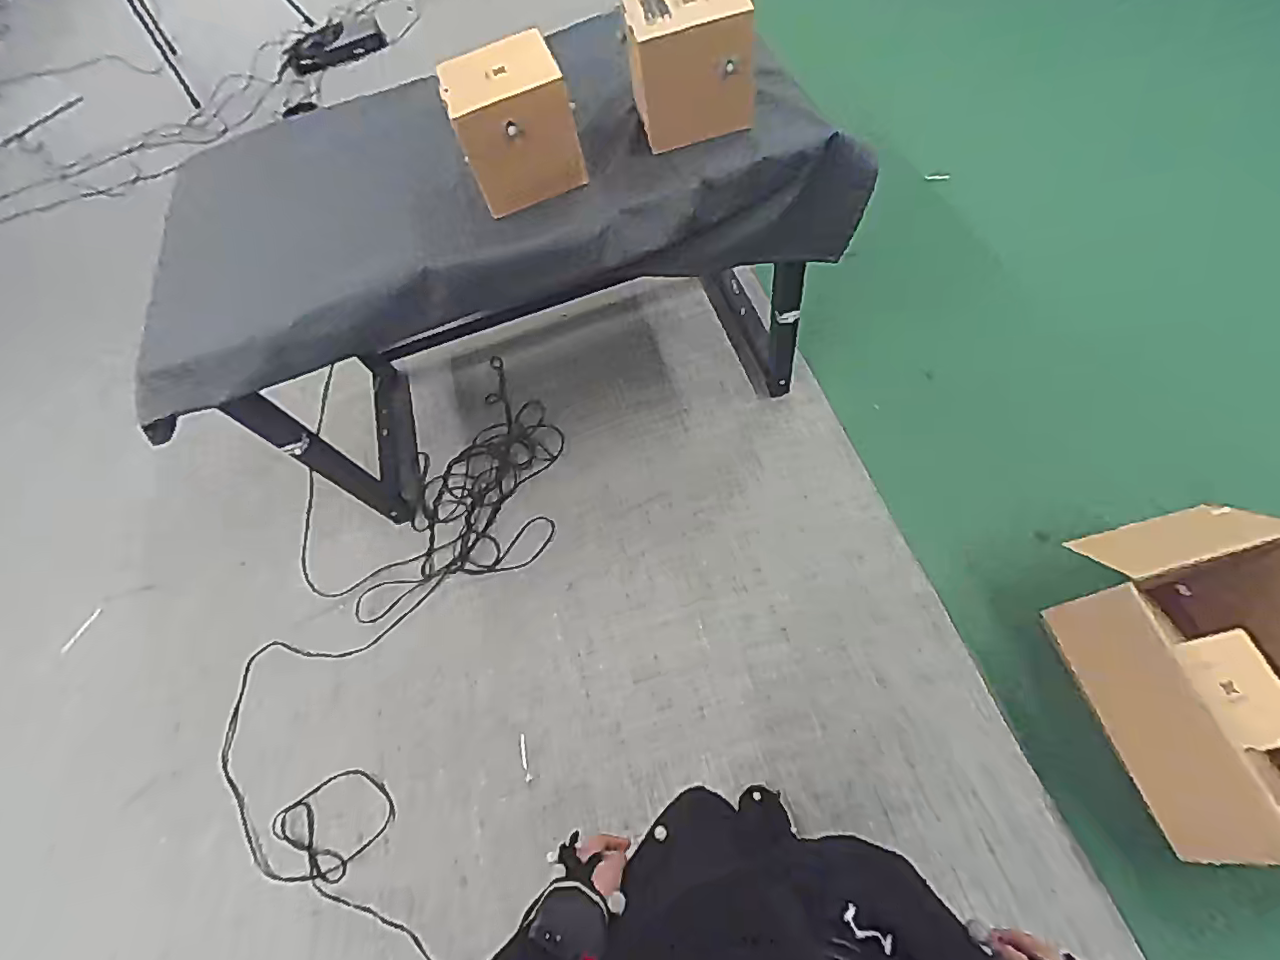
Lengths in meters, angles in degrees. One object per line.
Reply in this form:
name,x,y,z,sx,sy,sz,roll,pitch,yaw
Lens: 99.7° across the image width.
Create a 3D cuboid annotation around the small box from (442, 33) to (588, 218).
small box,-0.195,-0.571,0.885,0.179,0.176,0.168,-21,62,0
